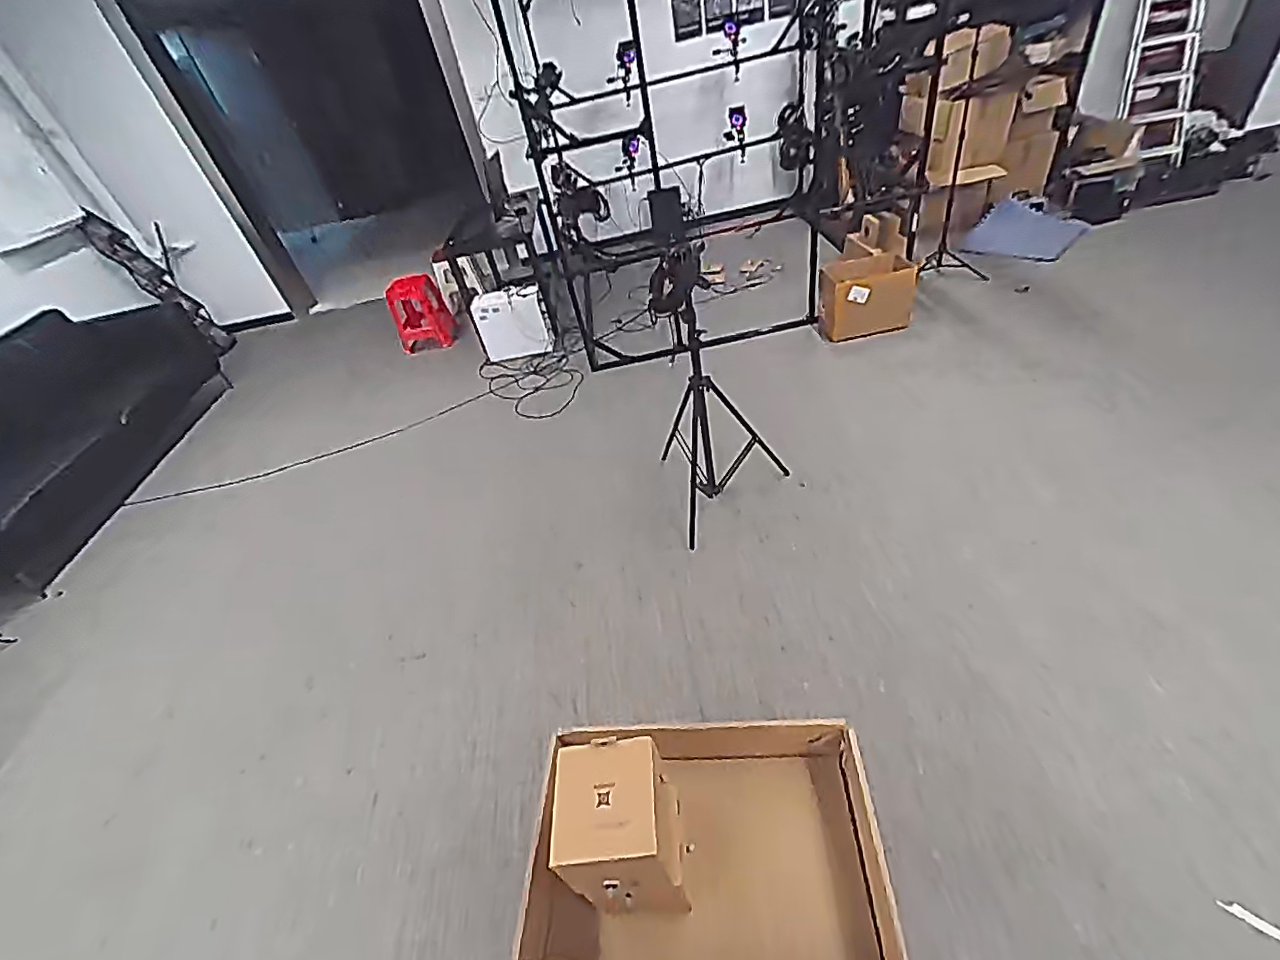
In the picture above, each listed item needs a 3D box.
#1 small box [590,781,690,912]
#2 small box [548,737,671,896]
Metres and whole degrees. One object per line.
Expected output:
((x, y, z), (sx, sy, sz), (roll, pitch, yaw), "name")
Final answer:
((-0.006, 0.687, 1.011), (0.179, 0.176, 0.168), (-7, 40, 6), "small box")
((-0.044, 0.564, 0.909), (0.168, 0.176, 0.179), (-10, 39, 5), "small box")
